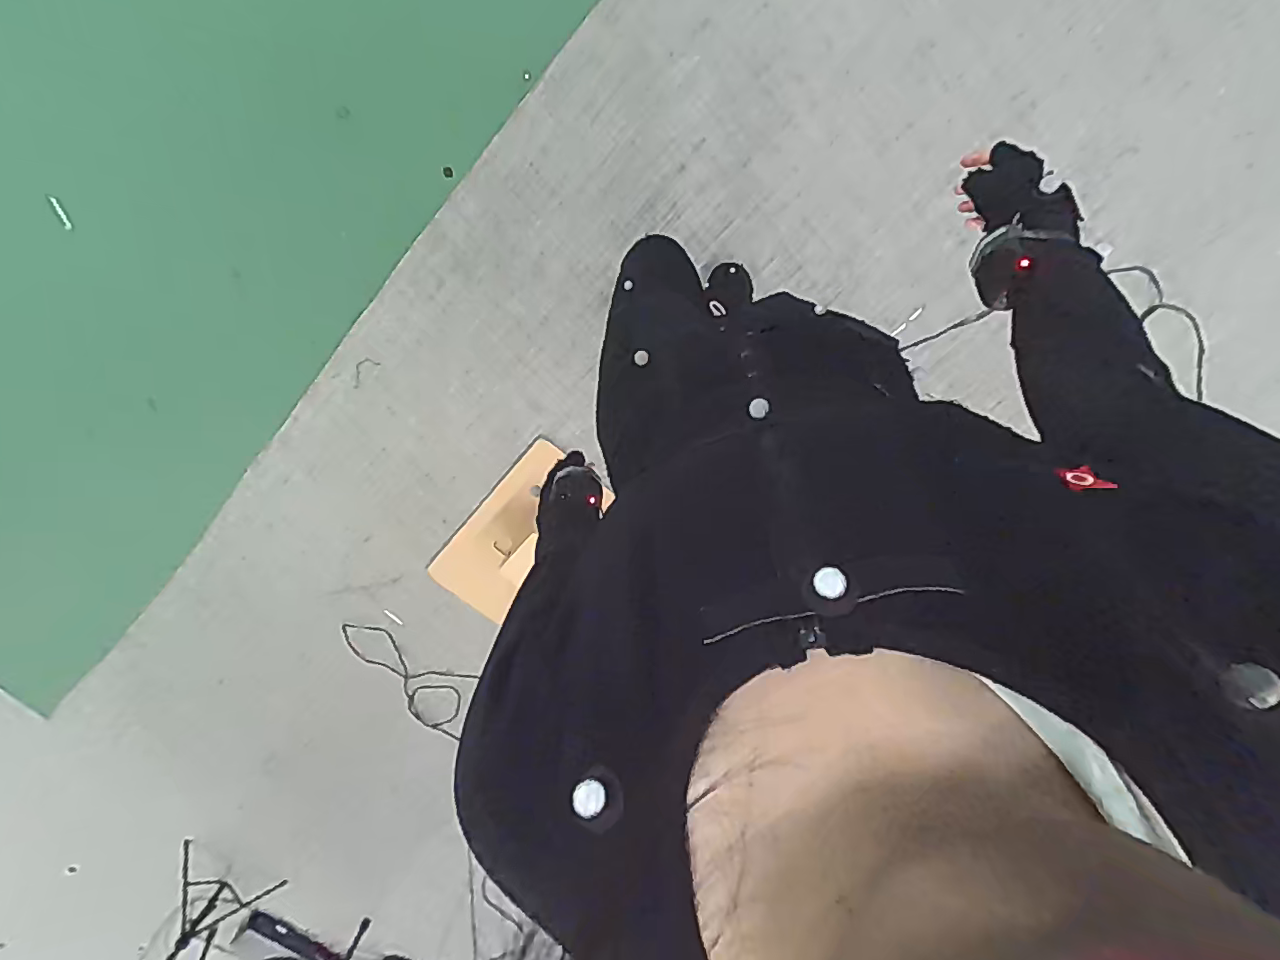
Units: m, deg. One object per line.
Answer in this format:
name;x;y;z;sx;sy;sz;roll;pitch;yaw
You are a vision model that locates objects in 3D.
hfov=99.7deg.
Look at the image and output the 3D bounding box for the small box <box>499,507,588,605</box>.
small box;-0.266;0.212;1.537;0.168;0.176;0.179;40;108;-13
